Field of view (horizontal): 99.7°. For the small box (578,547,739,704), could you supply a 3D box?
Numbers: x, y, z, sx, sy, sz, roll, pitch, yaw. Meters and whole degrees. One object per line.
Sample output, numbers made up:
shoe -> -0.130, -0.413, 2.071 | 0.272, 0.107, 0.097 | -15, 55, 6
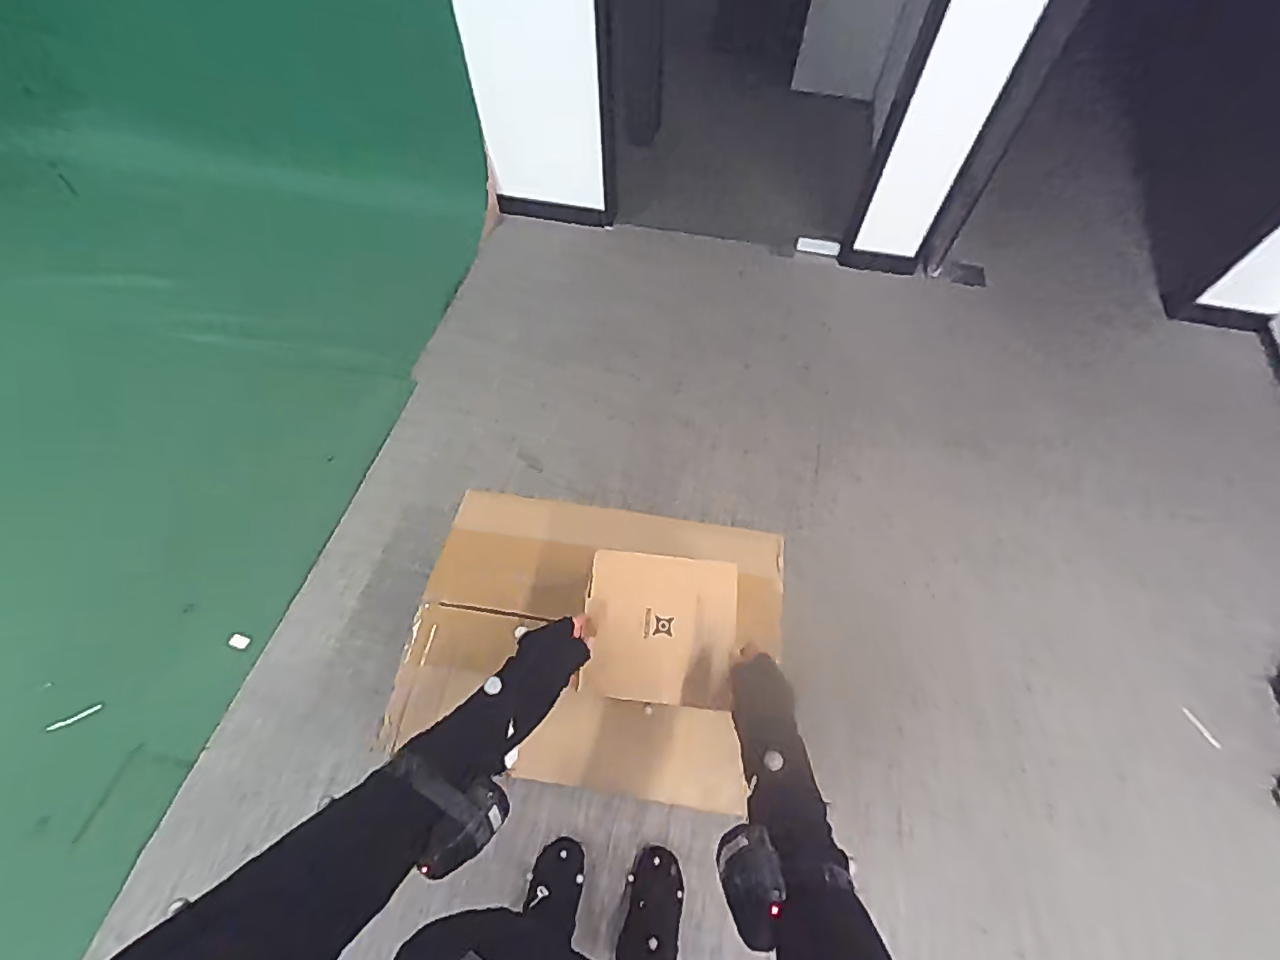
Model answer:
small box -> 0.024, 0.192, 0.697 | 0.179, 0.176, 0.168 | 5, 70, 1
